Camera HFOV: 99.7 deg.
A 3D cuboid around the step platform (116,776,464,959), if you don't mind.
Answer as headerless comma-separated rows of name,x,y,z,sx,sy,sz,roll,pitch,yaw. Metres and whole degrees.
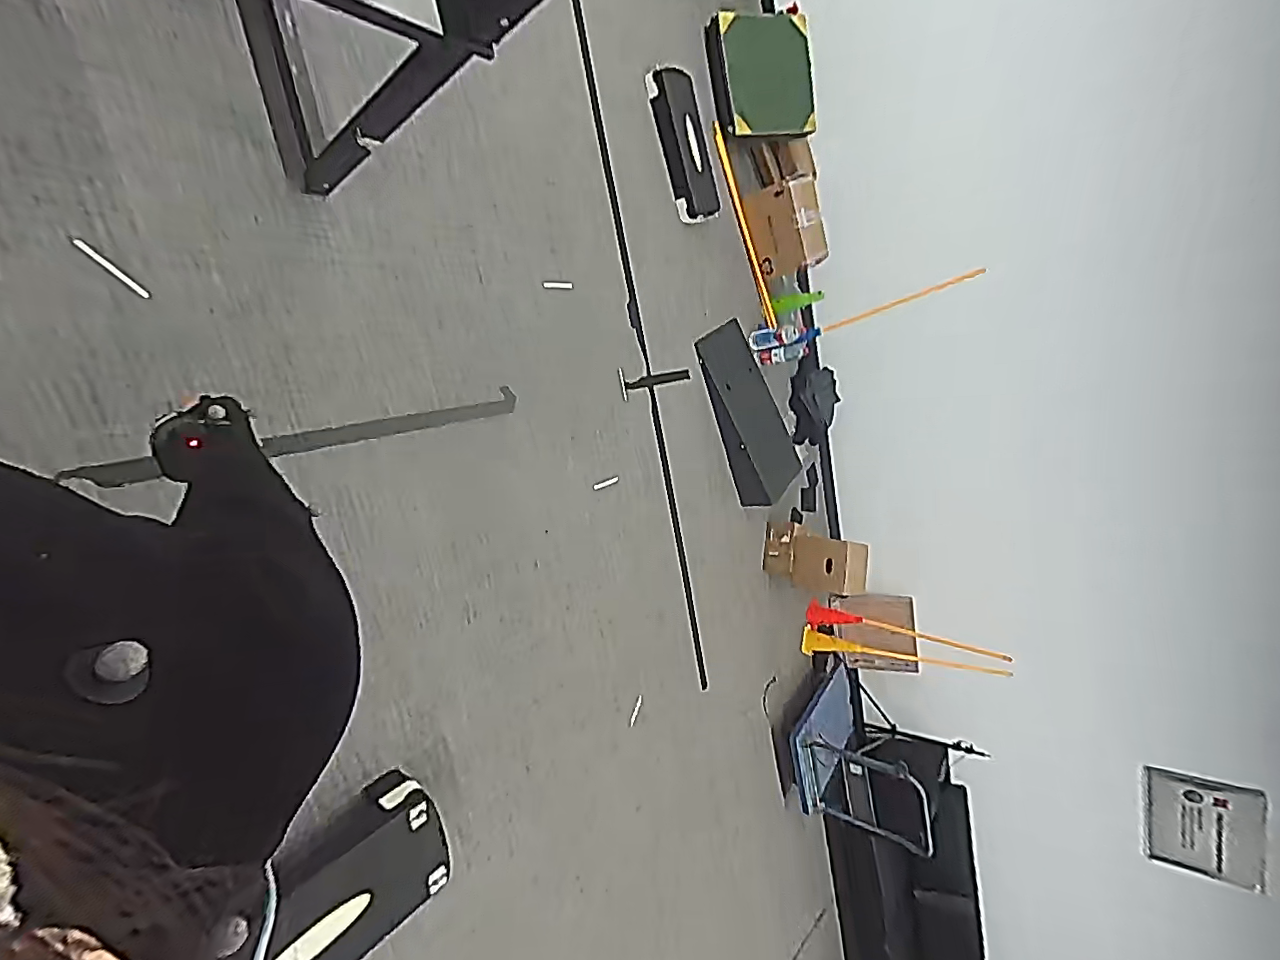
step platform,-0.761,1.028,1.279,0.684,0.204,0.286,-14,99,-51
